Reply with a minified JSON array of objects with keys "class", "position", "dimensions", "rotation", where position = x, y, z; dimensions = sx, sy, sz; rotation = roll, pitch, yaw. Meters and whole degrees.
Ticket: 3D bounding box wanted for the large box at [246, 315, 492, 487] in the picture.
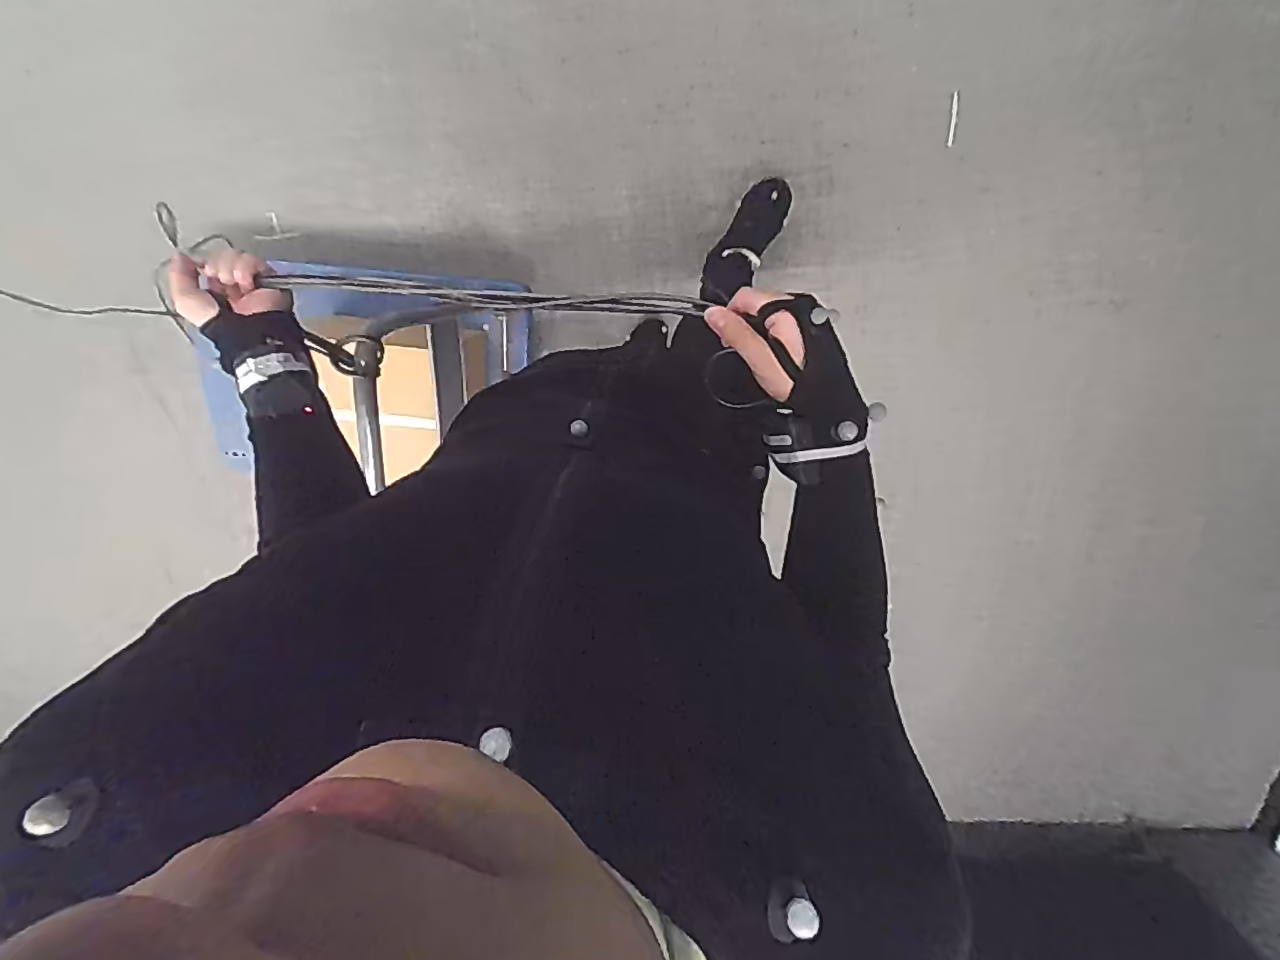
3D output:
[{"class":"large box","position":[-0.595,-0.200,1.271],"dimensions":[0.408,0.320,0.320],"rotation":[6,112,2]}]
